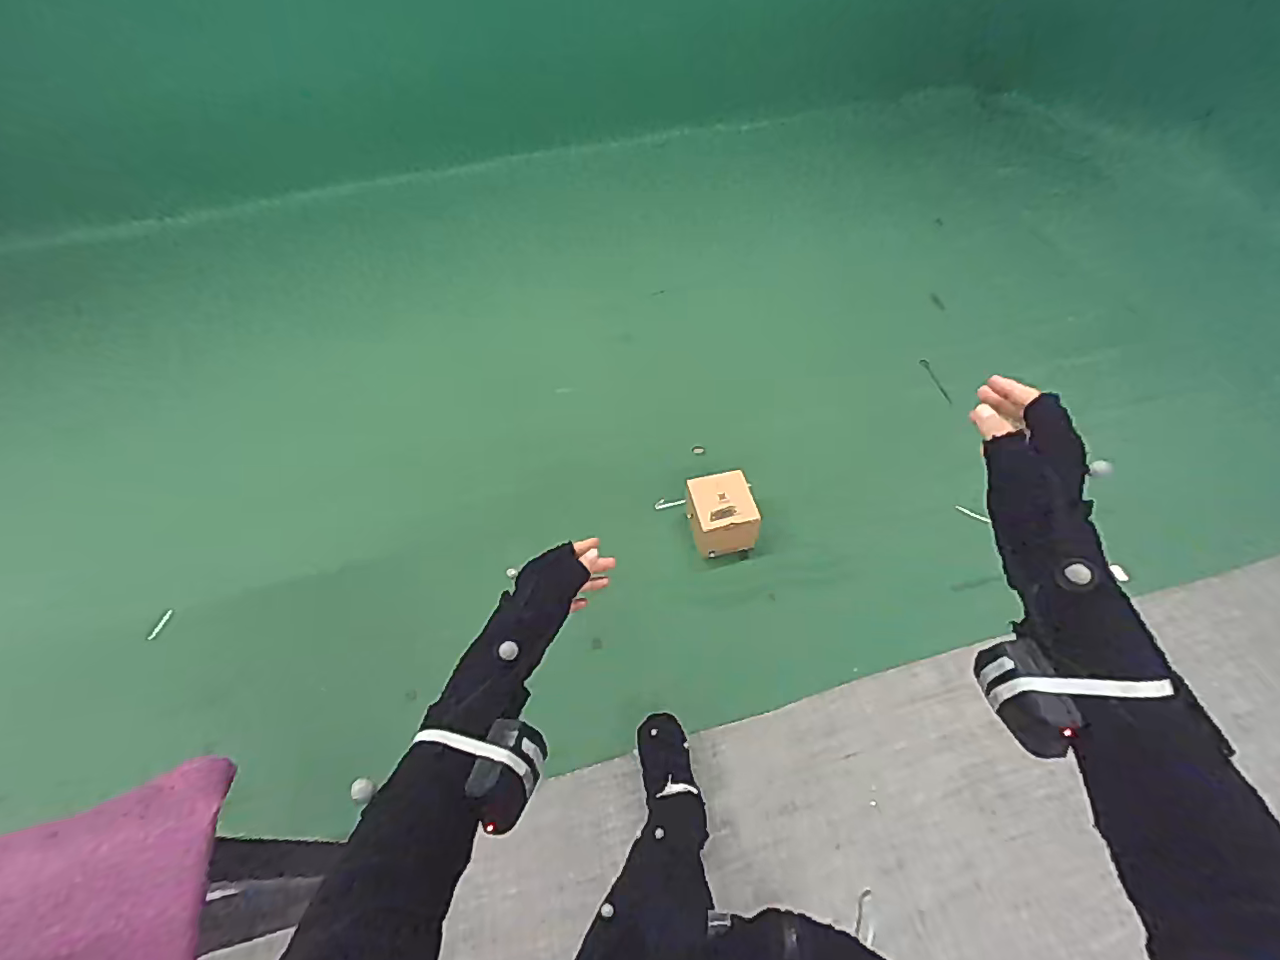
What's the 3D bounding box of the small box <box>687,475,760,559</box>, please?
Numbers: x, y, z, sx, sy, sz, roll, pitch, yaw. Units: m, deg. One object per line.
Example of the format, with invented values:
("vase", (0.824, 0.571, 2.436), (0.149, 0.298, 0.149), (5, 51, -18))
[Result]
("small box", (0.239, 0.115, 1.578), (0.168, 0.176, 0.179), (-11, 54, -5))
